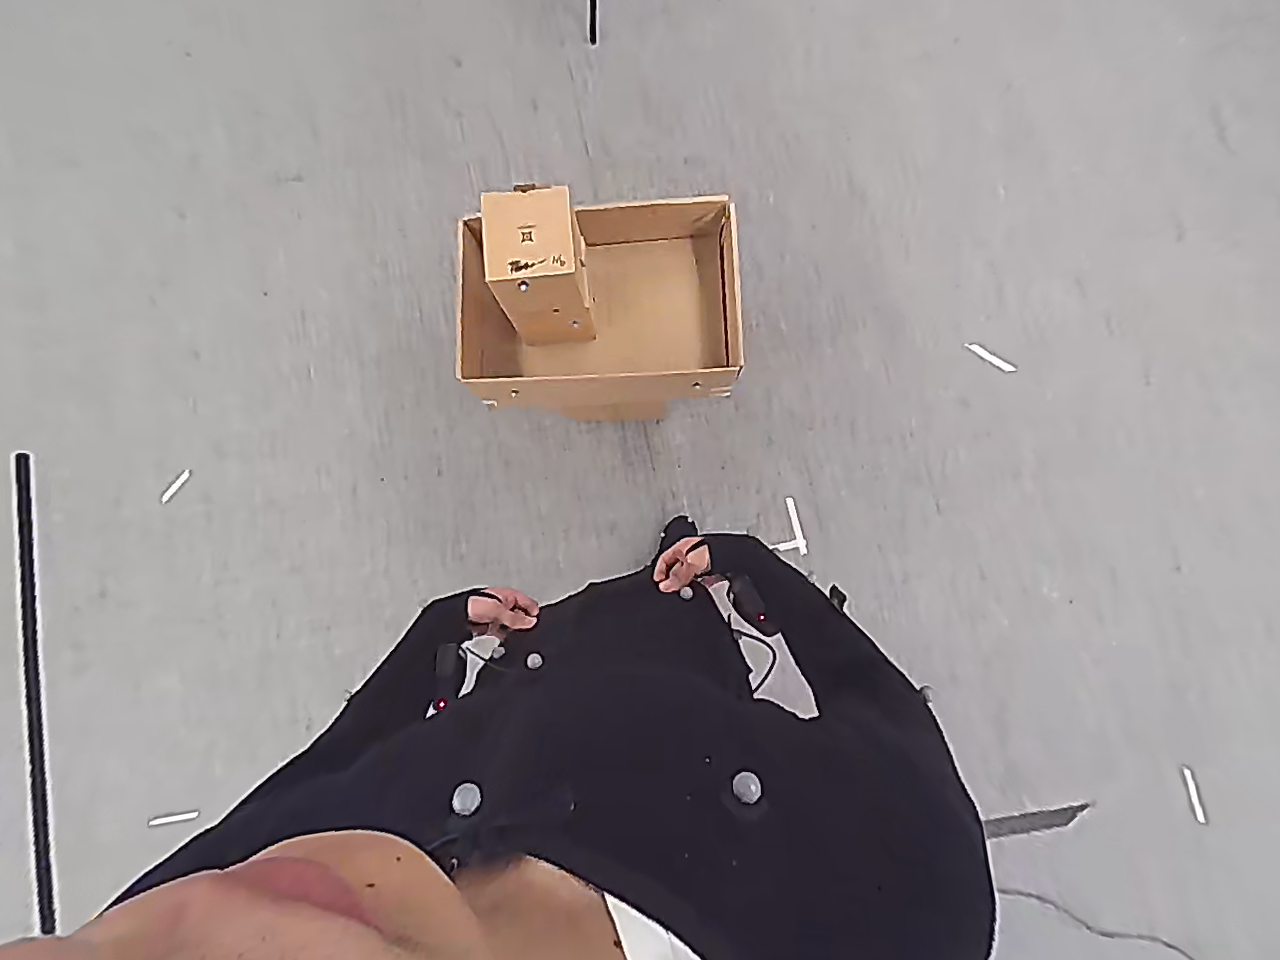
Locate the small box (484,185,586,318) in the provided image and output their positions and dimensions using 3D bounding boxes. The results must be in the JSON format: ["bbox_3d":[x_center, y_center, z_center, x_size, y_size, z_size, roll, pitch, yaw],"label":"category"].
[{"bbox_3d":[-0.199,-0.440,1.061,0.168,0.176,0.179,-5,82,1],"label":"small box"}]
